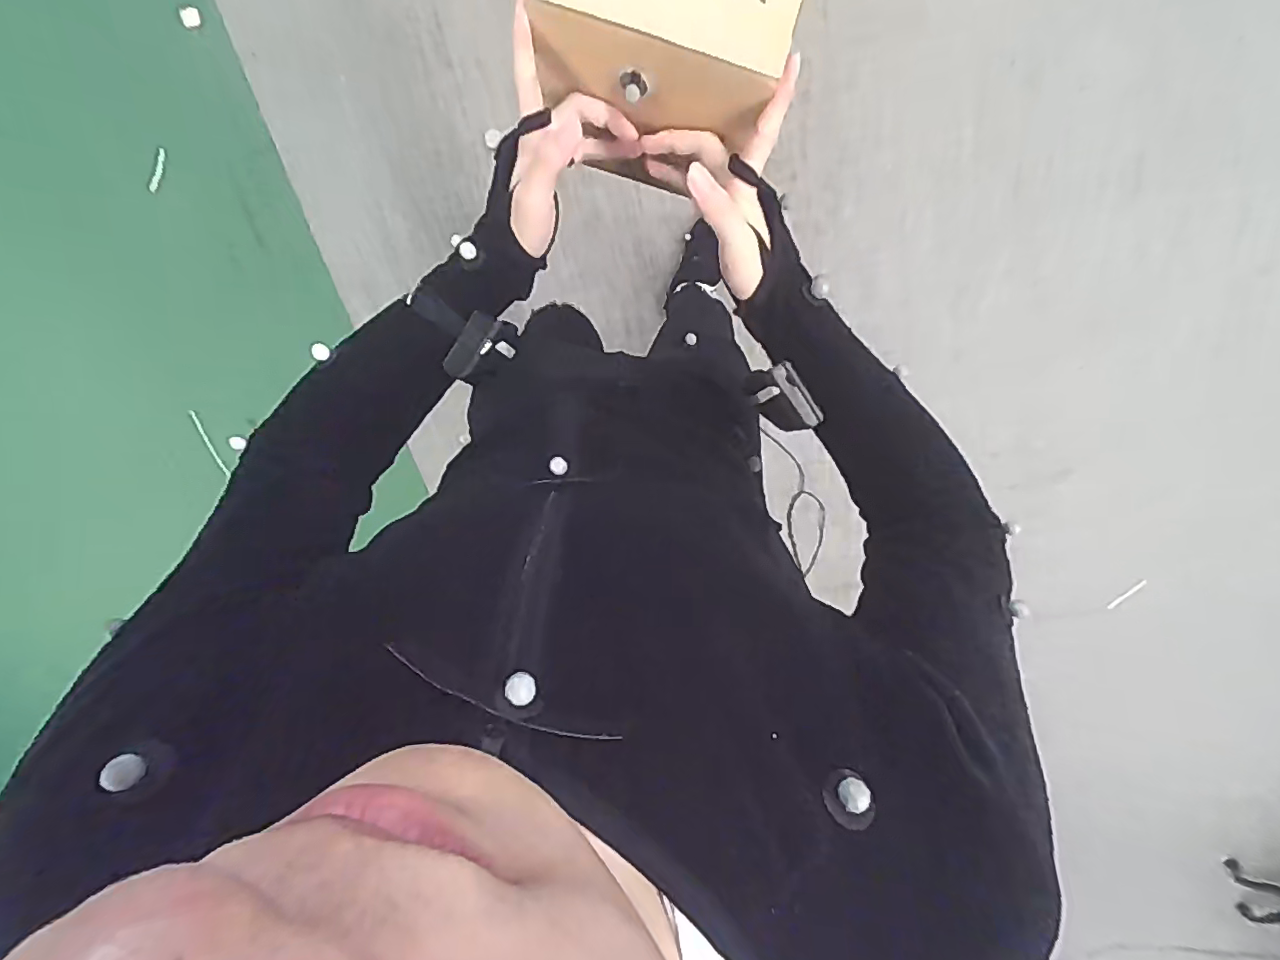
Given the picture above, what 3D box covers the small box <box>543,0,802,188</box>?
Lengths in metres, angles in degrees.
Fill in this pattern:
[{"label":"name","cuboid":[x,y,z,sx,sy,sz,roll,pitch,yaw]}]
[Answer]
[{"label":"small box","cuboid":[0.028,-0.370,0.431,0.179,0.176,0.168,15,88,-4]}]
